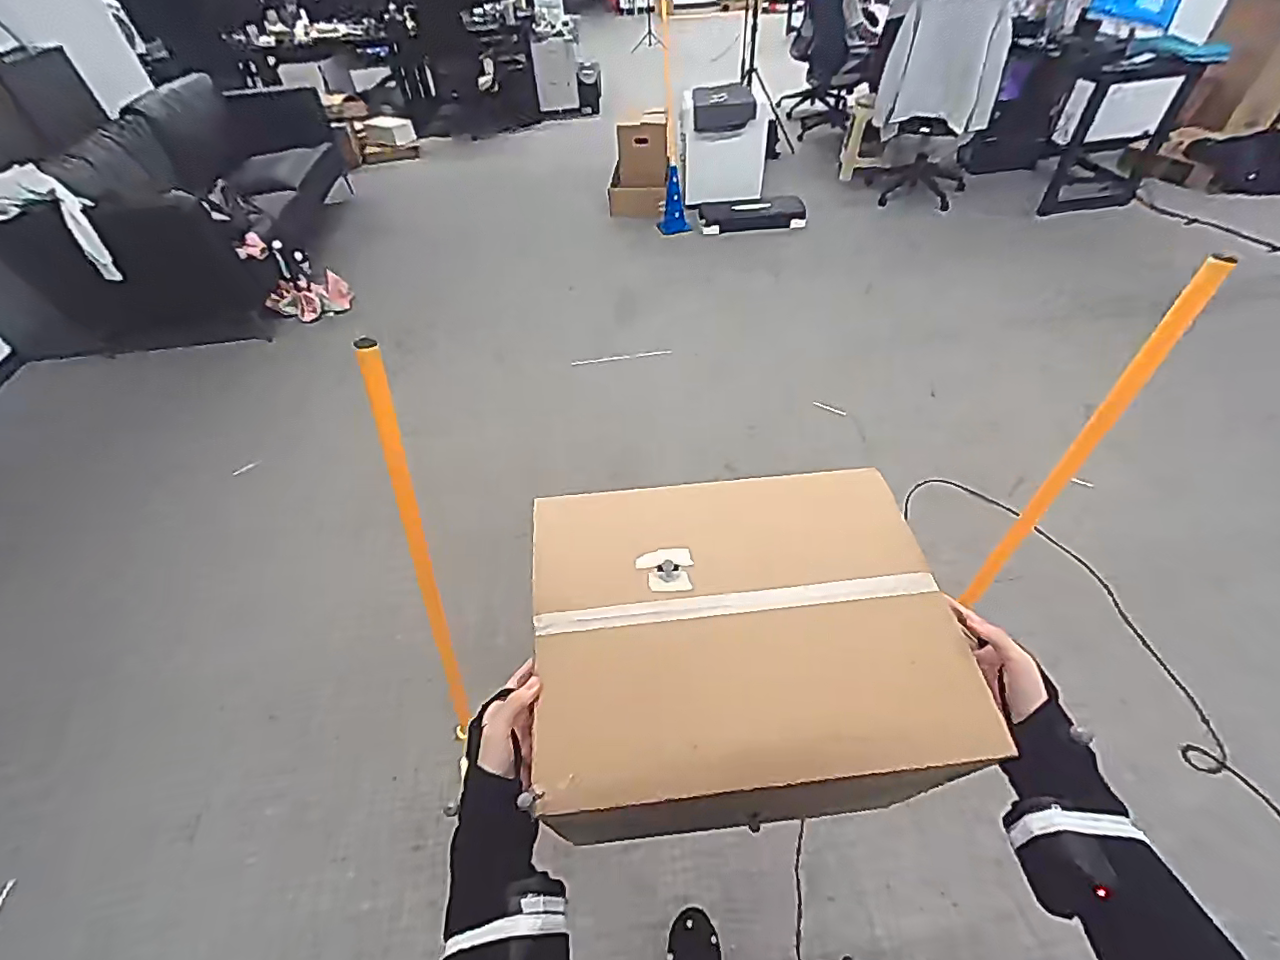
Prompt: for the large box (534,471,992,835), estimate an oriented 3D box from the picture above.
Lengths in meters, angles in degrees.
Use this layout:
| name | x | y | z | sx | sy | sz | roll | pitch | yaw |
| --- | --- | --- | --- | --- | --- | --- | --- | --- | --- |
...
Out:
| name | x | y | z | sx | sy | sz | roll | pitch | yaw |
| --- | --- | --- | --- | --- | --- | --- | --- | --- | --- |
| large box | 0.098 | 0.220 | 0.663 | 0.408 | 0.320 | 0.320 | -6 | 52 | -3 |
